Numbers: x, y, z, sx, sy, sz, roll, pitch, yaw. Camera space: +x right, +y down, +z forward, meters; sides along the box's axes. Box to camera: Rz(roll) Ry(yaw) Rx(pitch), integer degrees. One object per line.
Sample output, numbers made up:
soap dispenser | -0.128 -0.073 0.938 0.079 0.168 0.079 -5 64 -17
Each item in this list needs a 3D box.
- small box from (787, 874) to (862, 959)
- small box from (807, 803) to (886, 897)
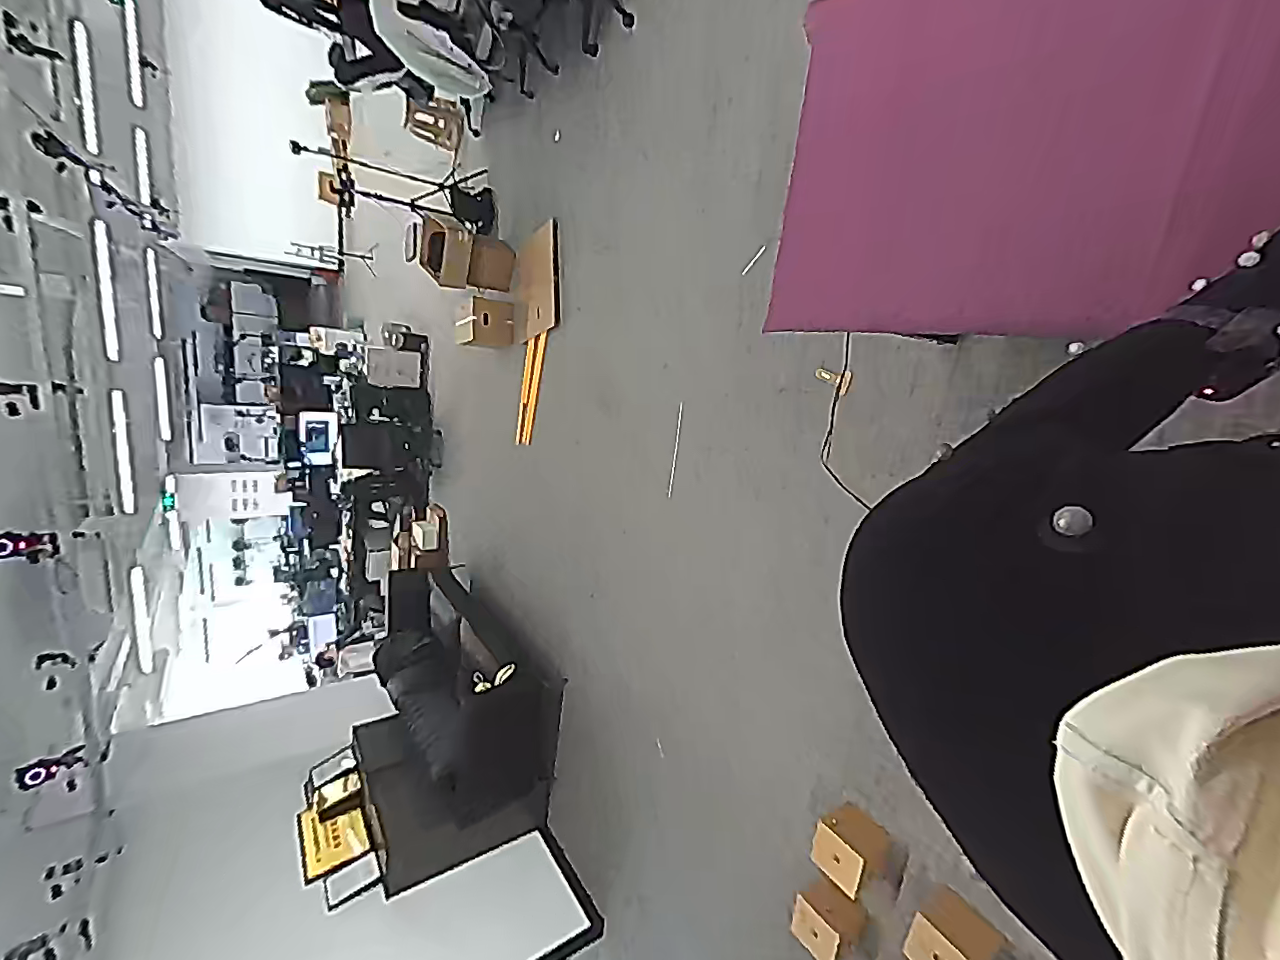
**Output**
small box | 0.655 1.554 1.915 0.179 0.176 0.168 24 111 51
small box | 0.703 1.243 1.834 0.179 0.176 0.168 24 112 52
